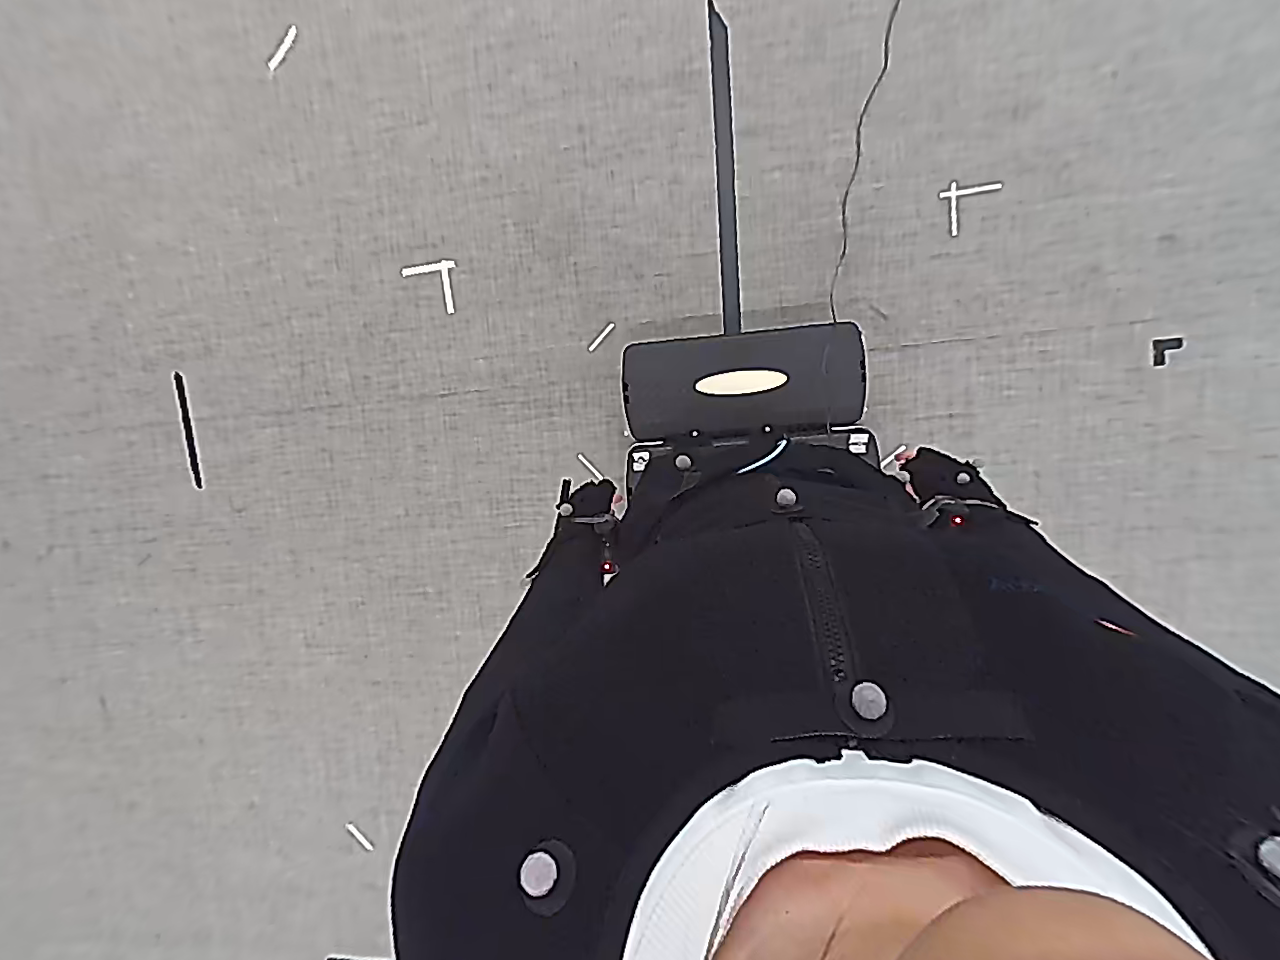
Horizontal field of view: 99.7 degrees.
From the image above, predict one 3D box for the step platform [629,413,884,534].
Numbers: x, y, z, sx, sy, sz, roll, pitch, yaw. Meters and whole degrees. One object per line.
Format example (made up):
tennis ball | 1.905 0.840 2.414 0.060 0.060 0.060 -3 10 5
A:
step platform | 0.311 -0.016 1.519 0.684 0.204 0.286 -5 95 9
